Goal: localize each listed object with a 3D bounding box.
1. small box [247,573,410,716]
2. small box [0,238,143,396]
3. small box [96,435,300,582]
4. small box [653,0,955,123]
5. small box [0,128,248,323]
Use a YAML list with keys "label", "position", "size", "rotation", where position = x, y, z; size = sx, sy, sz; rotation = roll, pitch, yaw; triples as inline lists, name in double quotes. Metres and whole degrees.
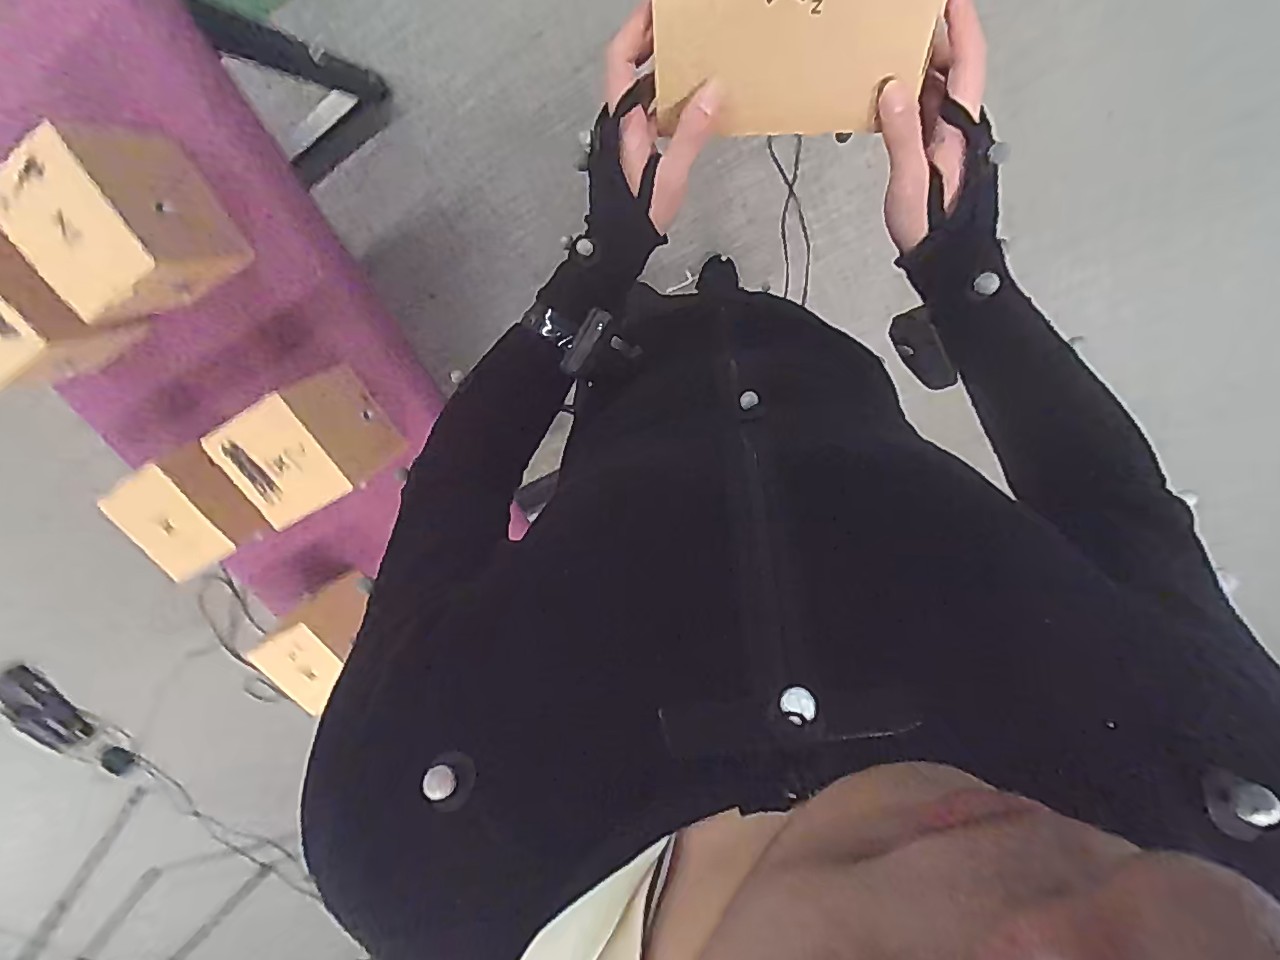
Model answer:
- label: "small box"
  position: [-0.589, 0.315, 1.048]
  size: [0.168, 0.176, 0.179]
  rotation: [-27, 110, 18]
- label: "small box"
  position: [-0.922, -0.252, 0.817]
  size: [0.179, 0.176, 0.168]
  rotation: [-22, 111, 19]
- label: "small box"
  position: [-0.751, 0.039, 0.939]
  size: [0.168, 0.176, 0.179]
  rotation: [-25, 111, 19]
- label: "small box"
  position: [0.106, -0.354, 0.353]
  size: [0.179, 0.176, 0.168]
  rotation: [5, 140, 9]
- label: "small box"
  position: [-0.702, -0.344, 0.742]
  size: [0.168, 0.176, 0.179]
  rotation: [-21, 112, 18]
